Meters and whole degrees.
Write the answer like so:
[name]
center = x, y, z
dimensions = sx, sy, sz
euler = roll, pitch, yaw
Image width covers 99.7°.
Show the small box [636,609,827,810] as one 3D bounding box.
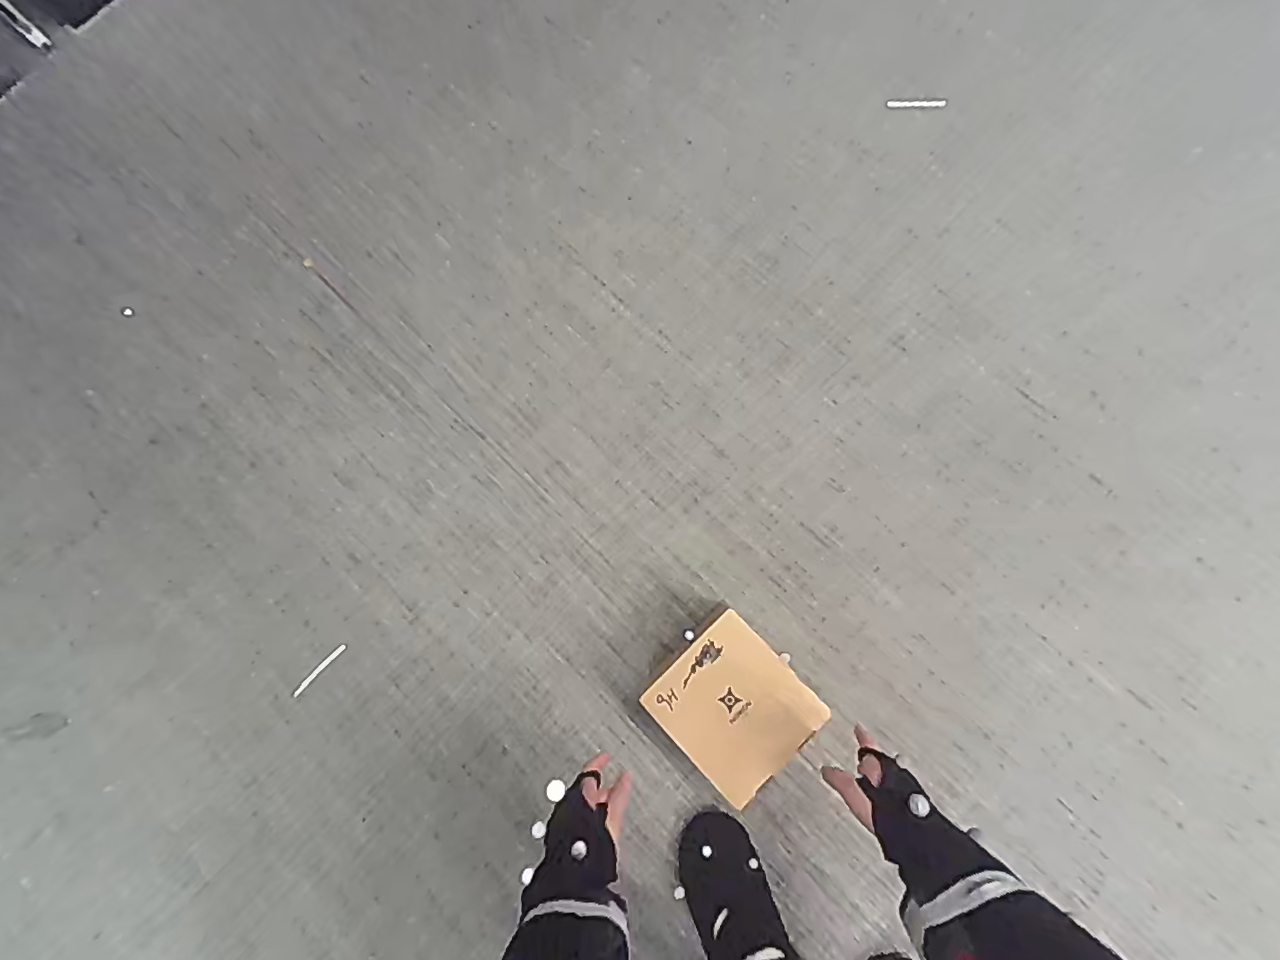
[small box]
center = 0.118, 0.293, 0.741
dimensions = 0.168, 0.176, 0.179
euler = -44, 79, -4
